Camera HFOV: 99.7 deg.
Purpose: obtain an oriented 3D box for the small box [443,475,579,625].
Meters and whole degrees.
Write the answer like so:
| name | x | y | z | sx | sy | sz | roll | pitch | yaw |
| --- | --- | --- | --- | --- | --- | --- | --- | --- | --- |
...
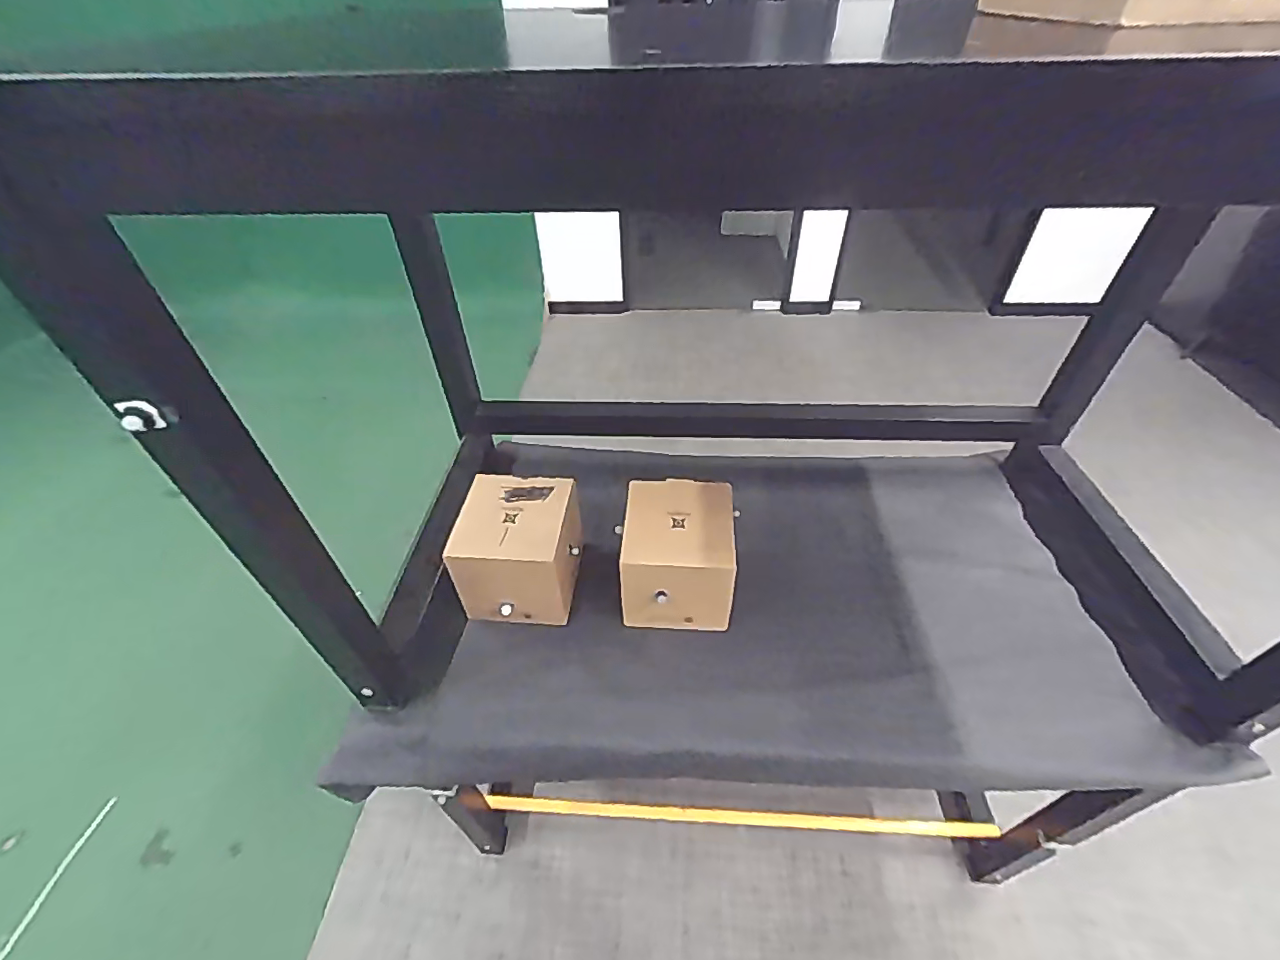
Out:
| name | x | y | z | sx | sy | sz | roll | pitch | yaw |
| --- | --- | --- | --- | --- | --- | --- | --- | --- | --- |
| small box | -0.196 | 0.113 | 0.886 | 0.168 | 0.176 | 0.179 | 2 | 44 | 4 |

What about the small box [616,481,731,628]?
| name | x | y | z | sx | sy | sz | roll | pitch | yaw |
| --- | --- | --- | --- | --- | --- | --- | --- | --- | --- |
| small box | 0.056 | 0.121 | 0.874 | 0.168 | 0.176 | 0.179 | 2 | 43 | 4 |
